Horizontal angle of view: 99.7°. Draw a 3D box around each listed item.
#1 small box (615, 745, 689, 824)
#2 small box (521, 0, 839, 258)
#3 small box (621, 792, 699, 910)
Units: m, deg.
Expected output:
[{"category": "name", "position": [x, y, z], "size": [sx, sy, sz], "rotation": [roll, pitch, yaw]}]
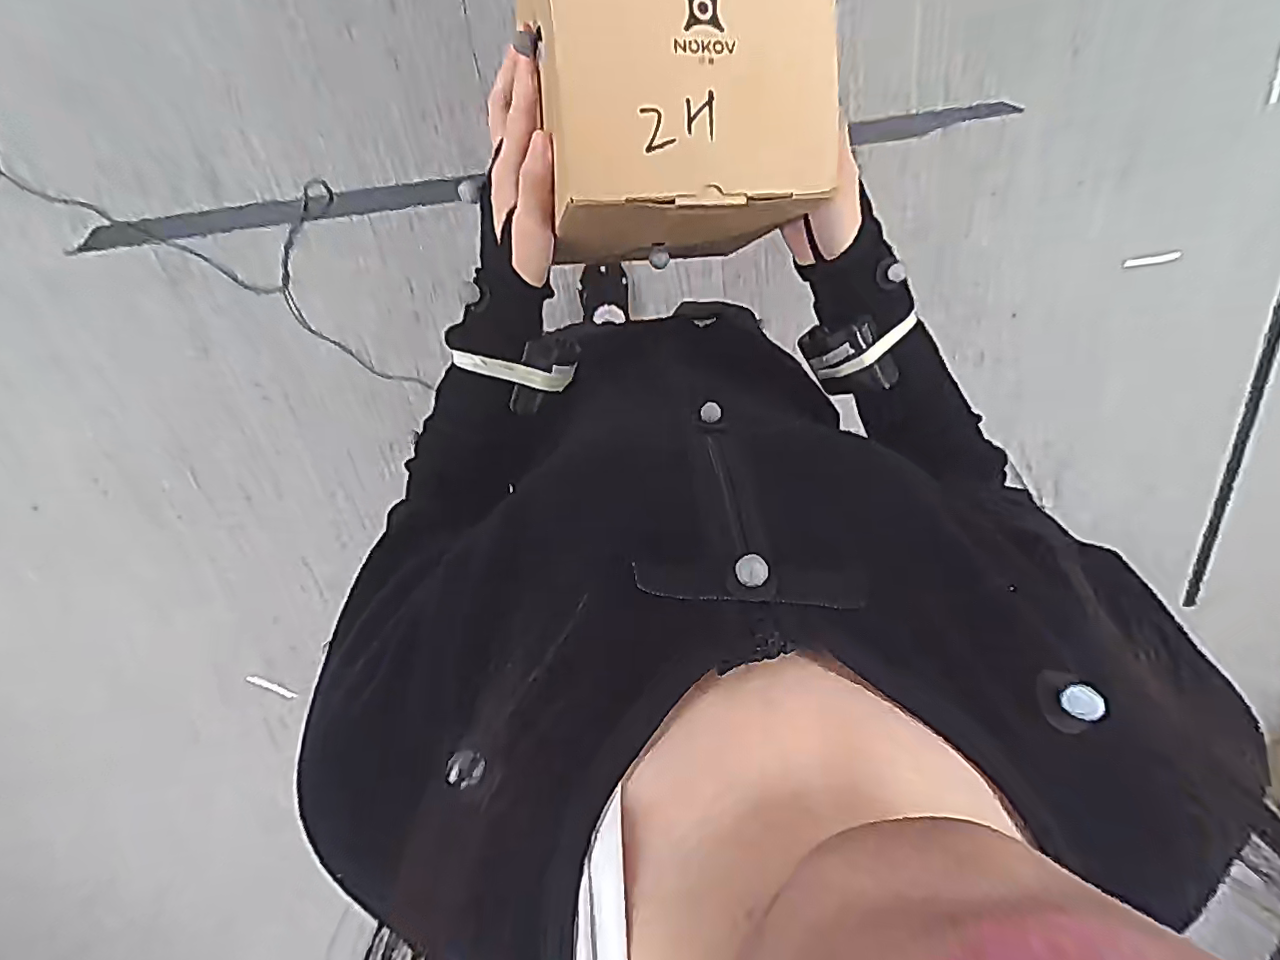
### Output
[{"category": "small box", "position": [0.031, 0.872, 1.509], "size": [0.179, 0.176, 0.168], "rotation": [-10, 112, 0]}, {"category": "small box", "position": [0.013, -0.264, 0.367], "size": [0.168, 0.176, 0.179], "rotation": [-8, 101, -12]}, {"category": "small box", "position": [0.047, 0.925, 1.357], "size": [0.168, 0.176, 0.179], "rotation": [-10, 111, -1]}]
